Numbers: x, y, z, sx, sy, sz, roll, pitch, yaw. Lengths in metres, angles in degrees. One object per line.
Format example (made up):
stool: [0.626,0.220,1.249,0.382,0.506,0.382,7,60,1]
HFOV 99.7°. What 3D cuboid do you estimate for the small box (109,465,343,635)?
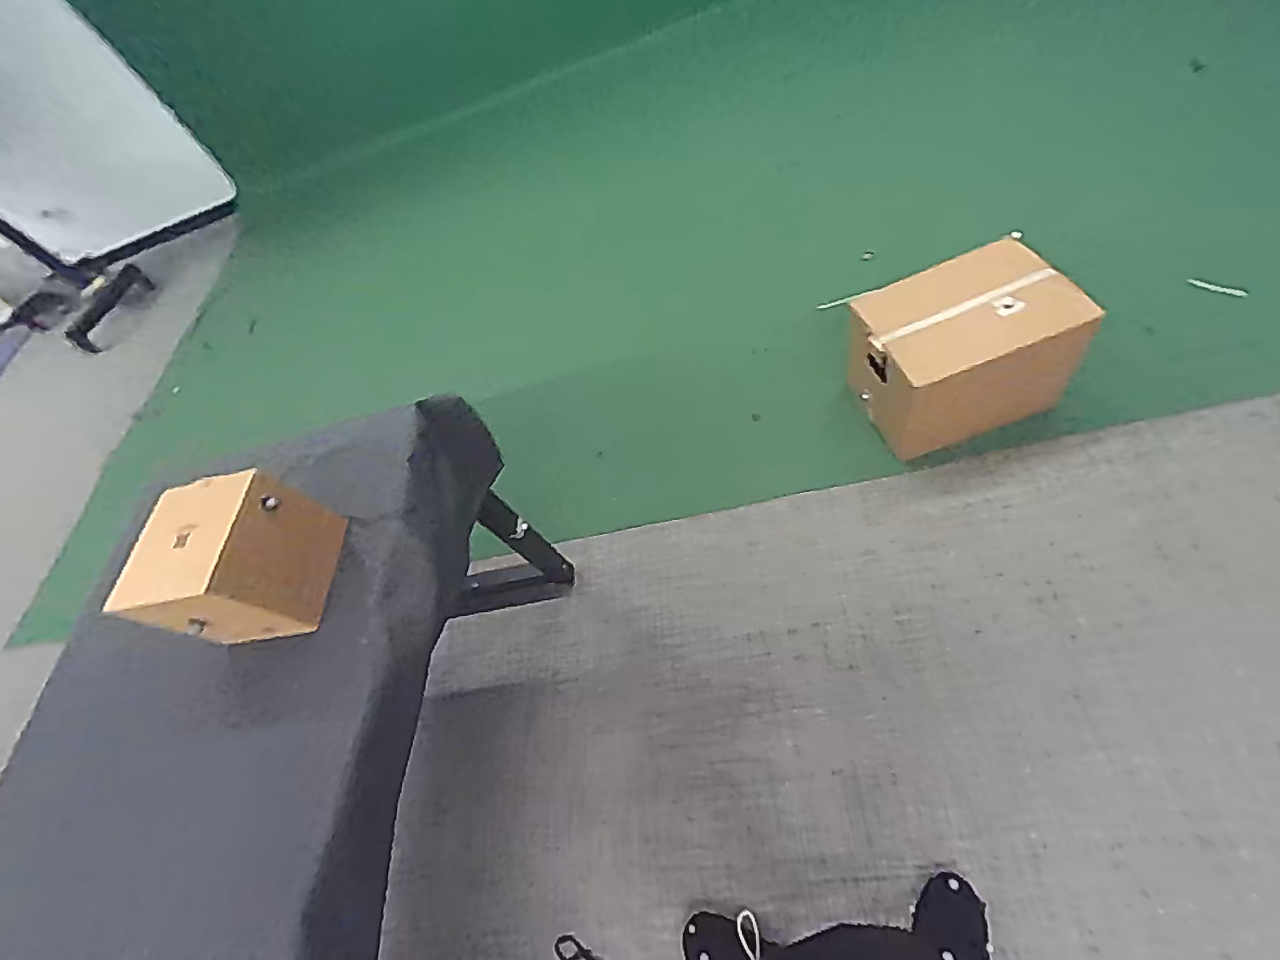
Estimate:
small box: [-0.550,0.107,0.748,0.168,0.176,0.179,-11,57,14]
